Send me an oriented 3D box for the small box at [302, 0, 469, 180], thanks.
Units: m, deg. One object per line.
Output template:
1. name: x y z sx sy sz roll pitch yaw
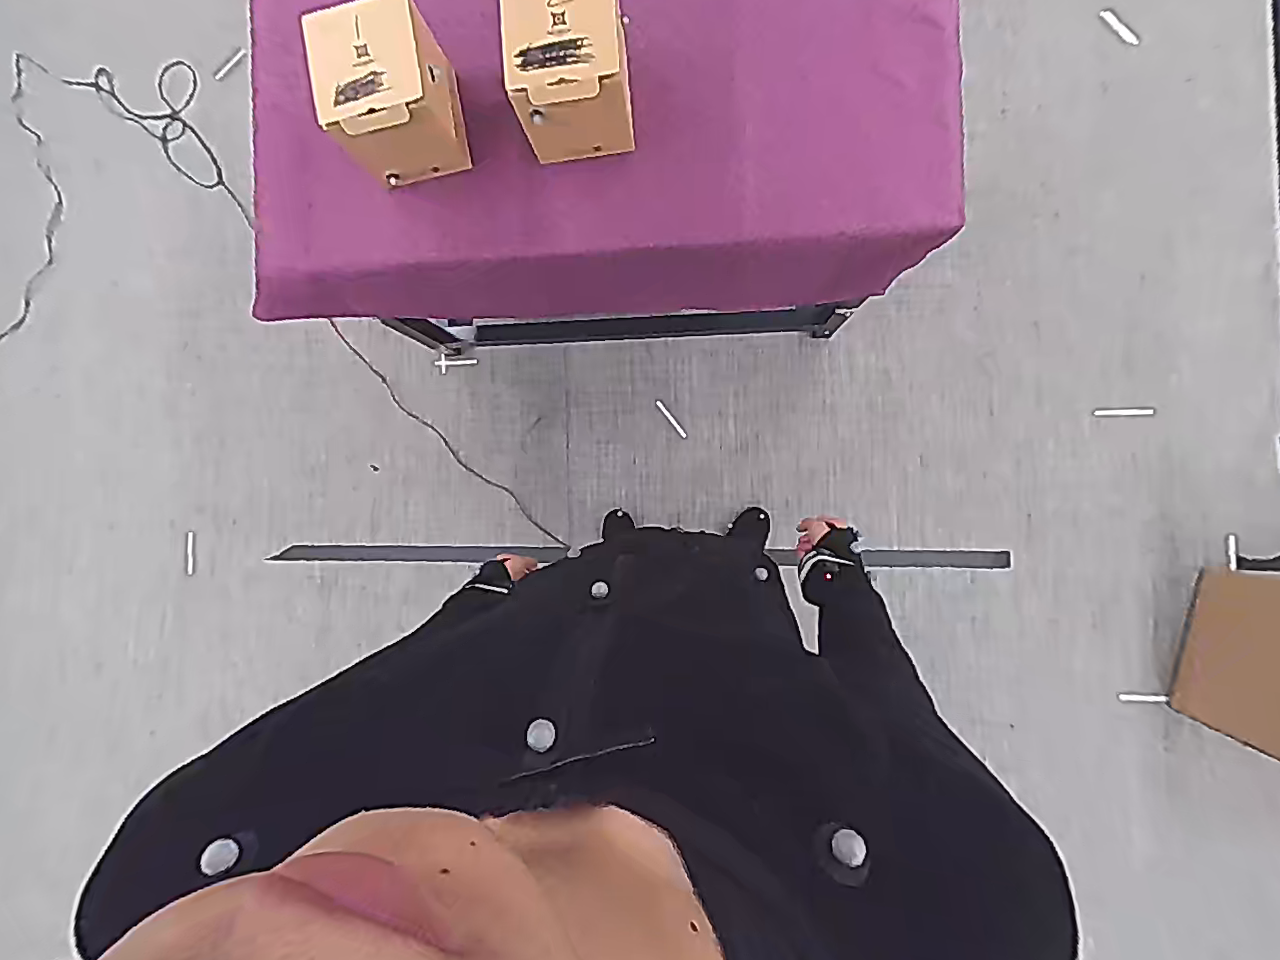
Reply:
1. small box: -0.390 -0.607 0.858 0.168 0.176 0.179 -11 88 5
